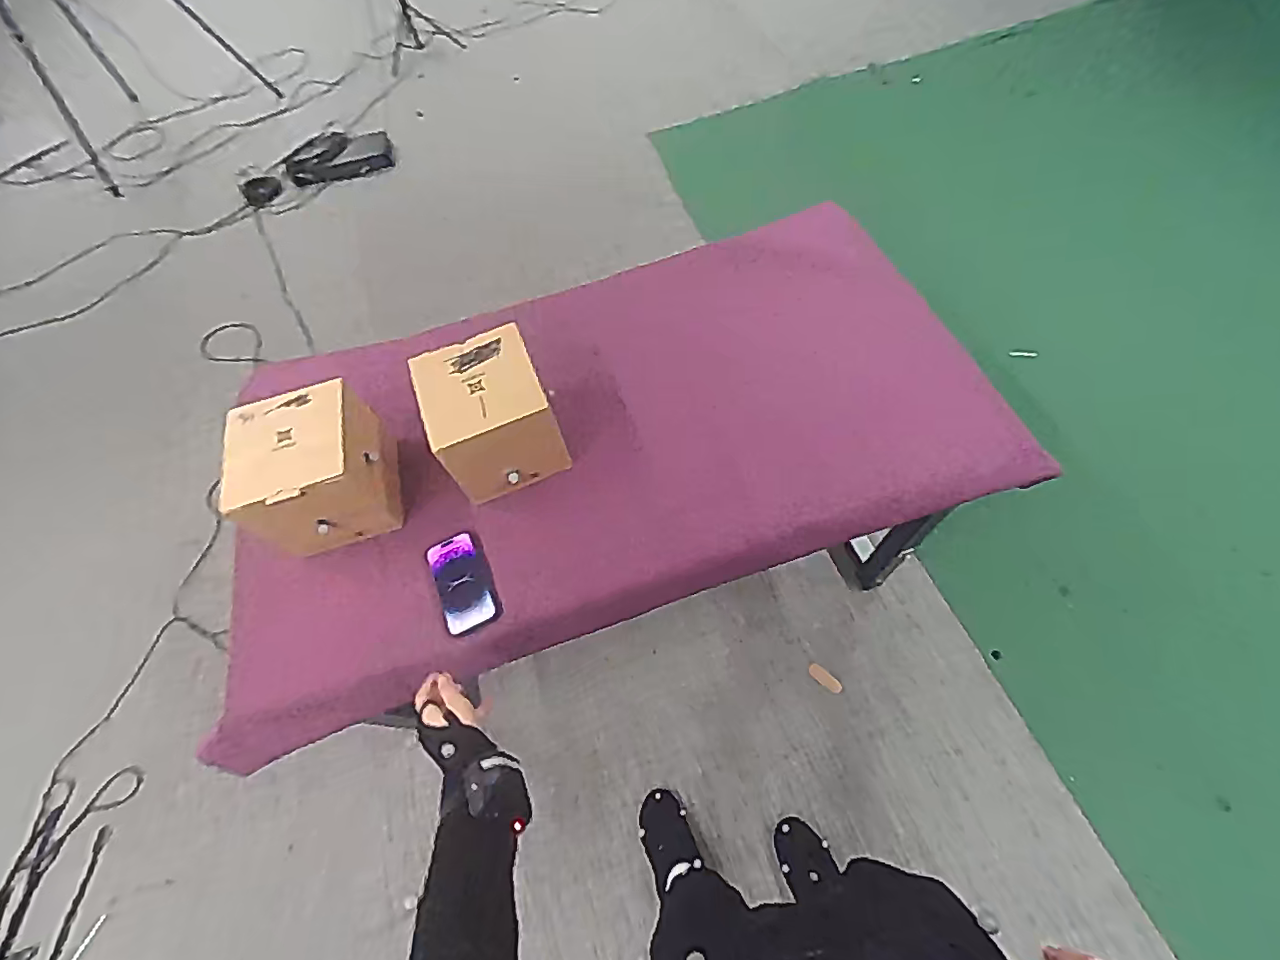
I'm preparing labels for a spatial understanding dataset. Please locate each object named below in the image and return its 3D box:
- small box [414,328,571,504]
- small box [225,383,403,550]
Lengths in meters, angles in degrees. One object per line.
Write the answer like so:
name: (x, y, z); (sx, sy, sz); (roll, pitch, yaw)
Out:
small box: (-0.219, -0.093, 0.828); (0.168, 0.176, 0.179); (-22, 62, -5)
small box: (-0.474, -0.010, 0.811); (0.168, 0.176, 0.179); (-17, 61, -3)
